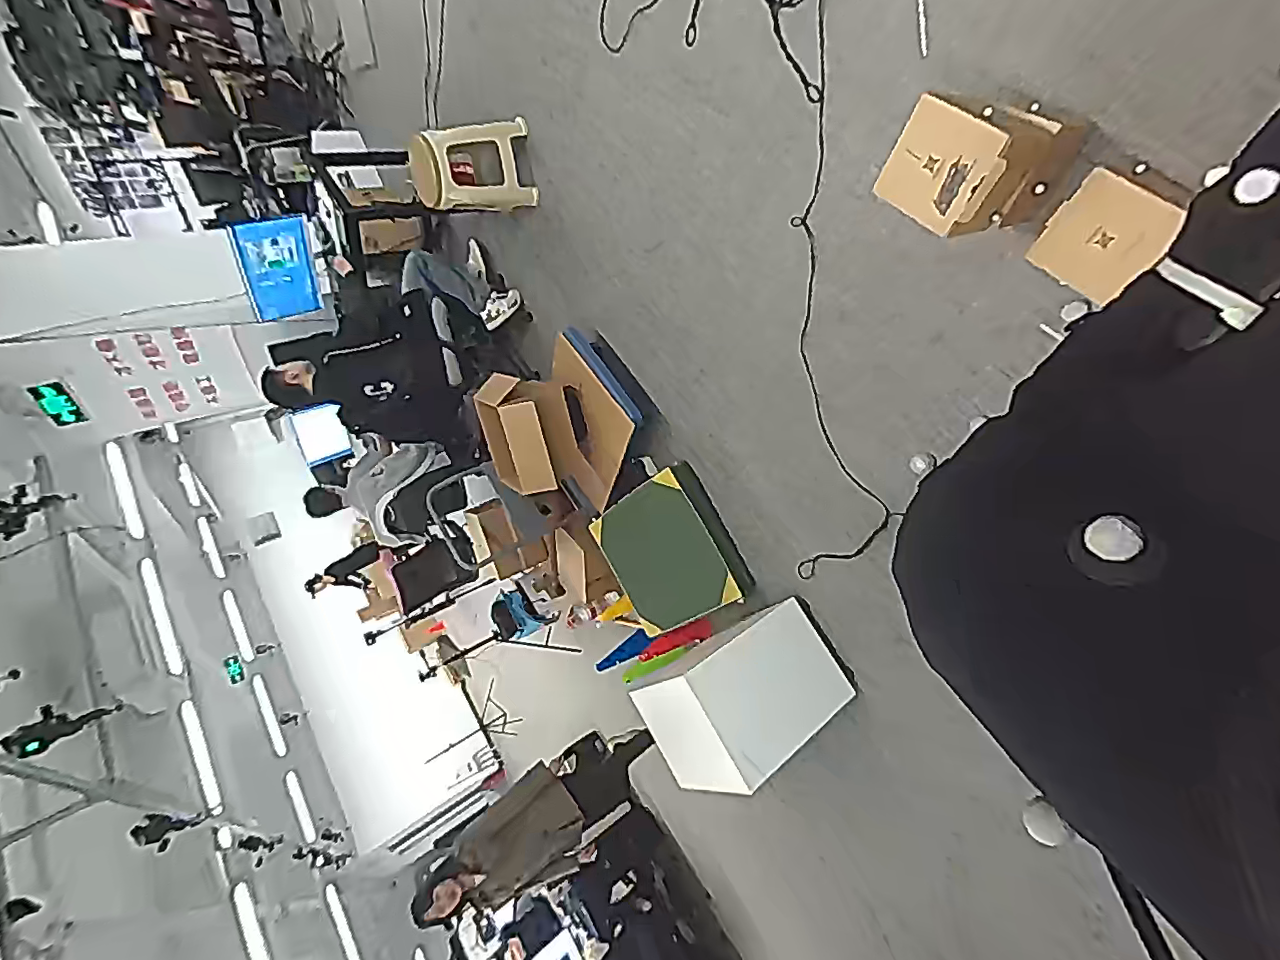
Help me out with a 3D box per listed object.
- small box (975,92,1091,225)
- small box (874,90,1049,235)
[{"bbox_3d":[0.706,-0.618,1.038,0.168,0.176,0.179,48,144,29],"label":"small box"},{"bbox_3d":[0.569,-0.566,0.961,0.179,0.176,0.168,52,145,25],"label":"small box"}]
